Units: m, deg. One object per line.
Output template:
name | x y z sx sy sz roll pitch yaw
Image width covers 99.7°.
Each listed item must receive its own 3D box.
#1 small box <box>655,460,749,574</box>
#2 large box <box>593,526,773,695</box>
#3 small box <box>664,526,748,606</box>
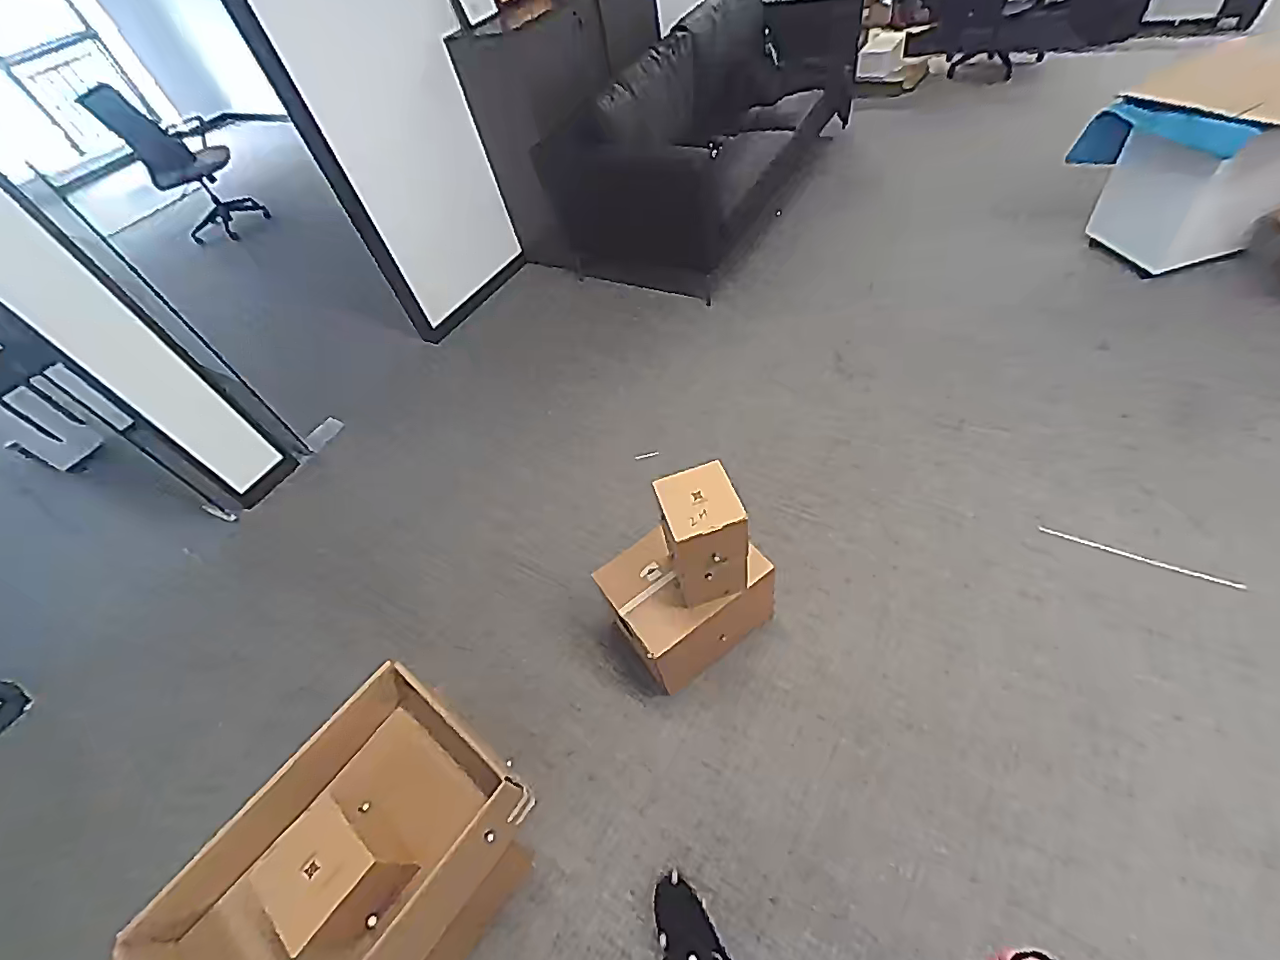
small box | 0.142 0.088 1.250 0.168 0.176 0.179 -19 52 -2
large box | 0.137 0.342 1.582 0.408 0.320 0.320 -34 52 -14
small box | 0.166 0.191 1.378 0.168 0.176 0.179 -18 51 -2
